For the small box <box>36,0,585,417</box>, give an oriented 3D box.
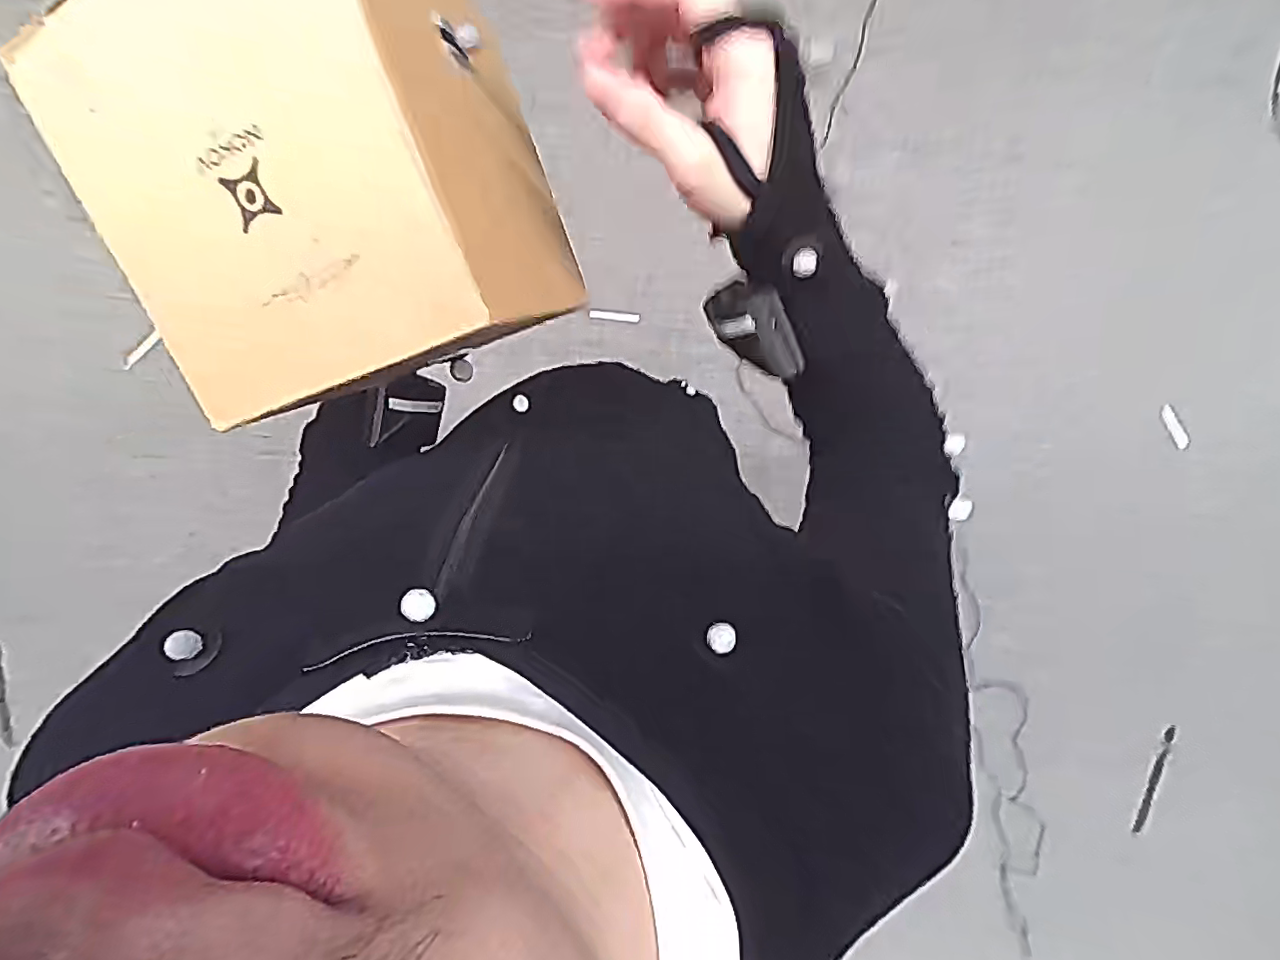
[{"bbox_3d":[-0.151,-0.157,0.315,0.168,0.176,0.179,-15,107,15],"label":"small box"}]
